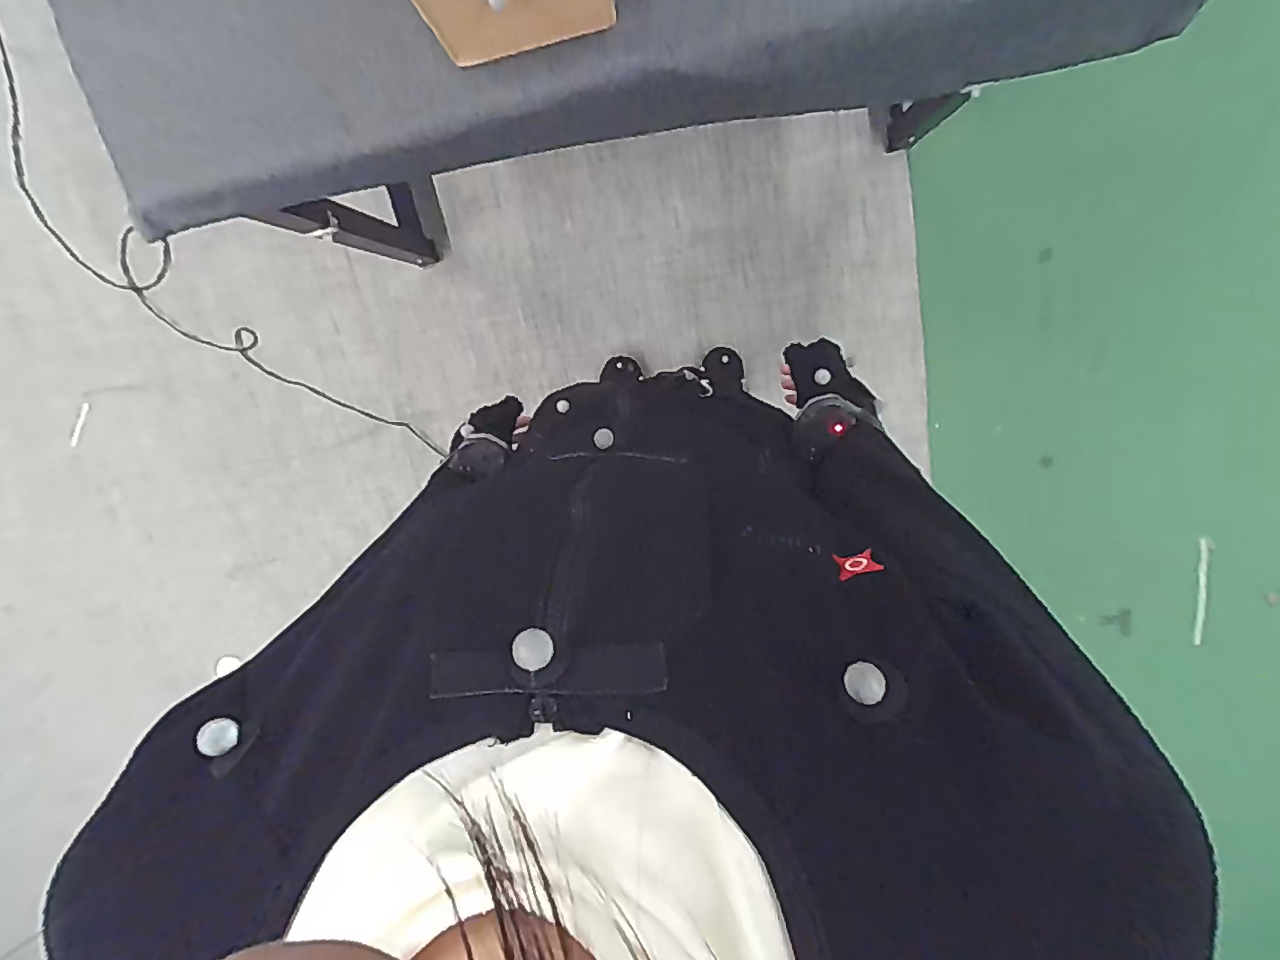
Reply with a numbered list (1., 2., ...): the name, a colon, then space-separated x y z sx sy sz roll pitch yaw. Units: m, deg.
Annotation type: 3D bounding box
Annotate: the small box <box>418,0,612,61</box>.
1. small box: -0.132 -0.516 0.478 0.179 0.176 0.168 -11 103 5
